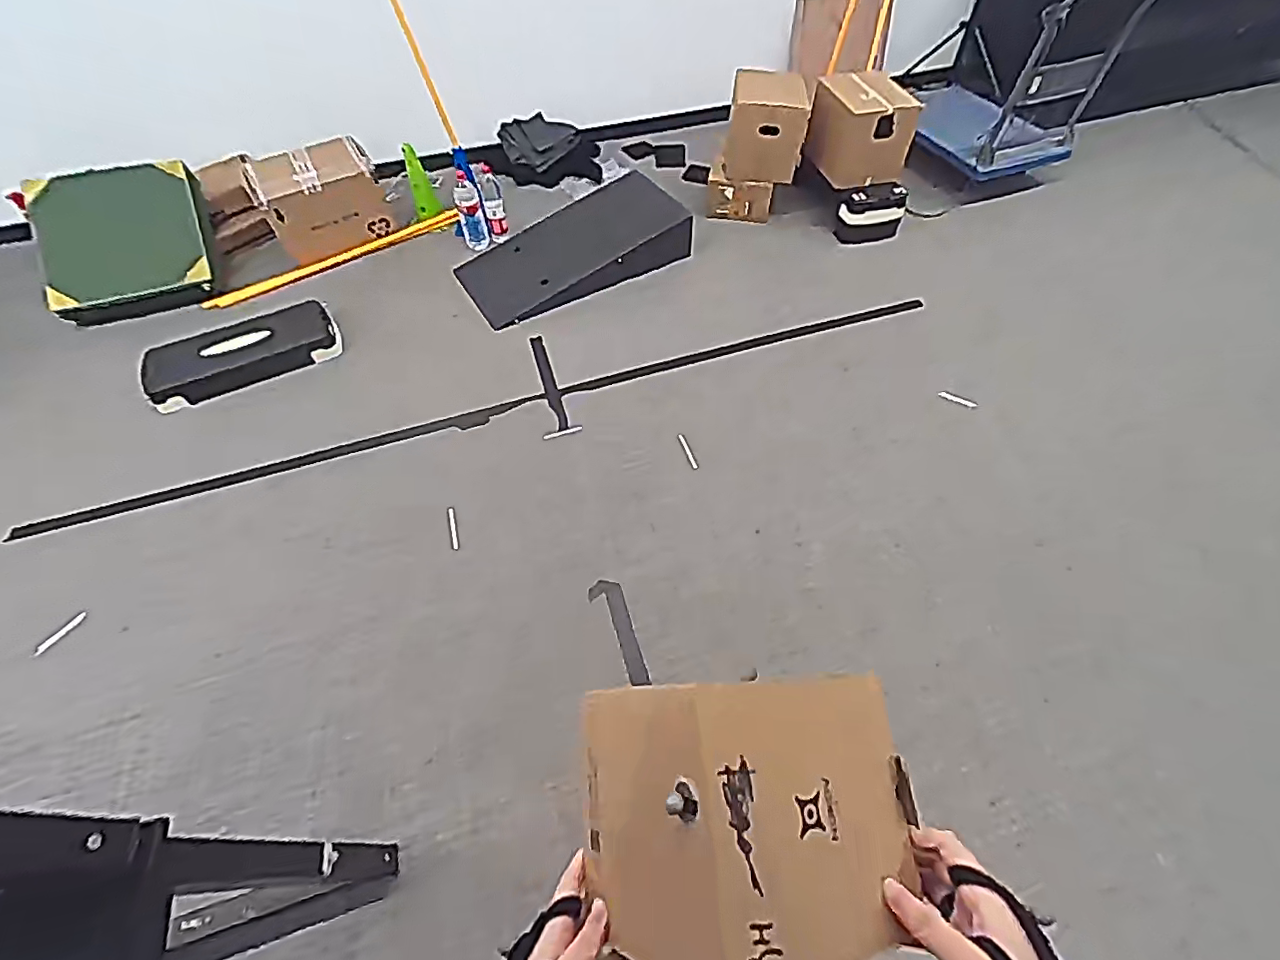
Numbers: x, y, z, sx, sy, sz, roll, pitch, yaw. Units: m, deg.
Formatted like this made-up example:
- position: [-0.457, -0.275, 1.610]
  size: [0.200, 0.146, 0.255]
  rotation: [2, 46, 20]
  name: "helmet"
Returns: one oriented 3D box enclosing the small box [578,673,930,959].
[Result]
- position: [0.069, 0.234, 0.398]
  size: [0.179, 0.176, 0.168]
  rotation: [10, 64, -31]
  name: "small box"
